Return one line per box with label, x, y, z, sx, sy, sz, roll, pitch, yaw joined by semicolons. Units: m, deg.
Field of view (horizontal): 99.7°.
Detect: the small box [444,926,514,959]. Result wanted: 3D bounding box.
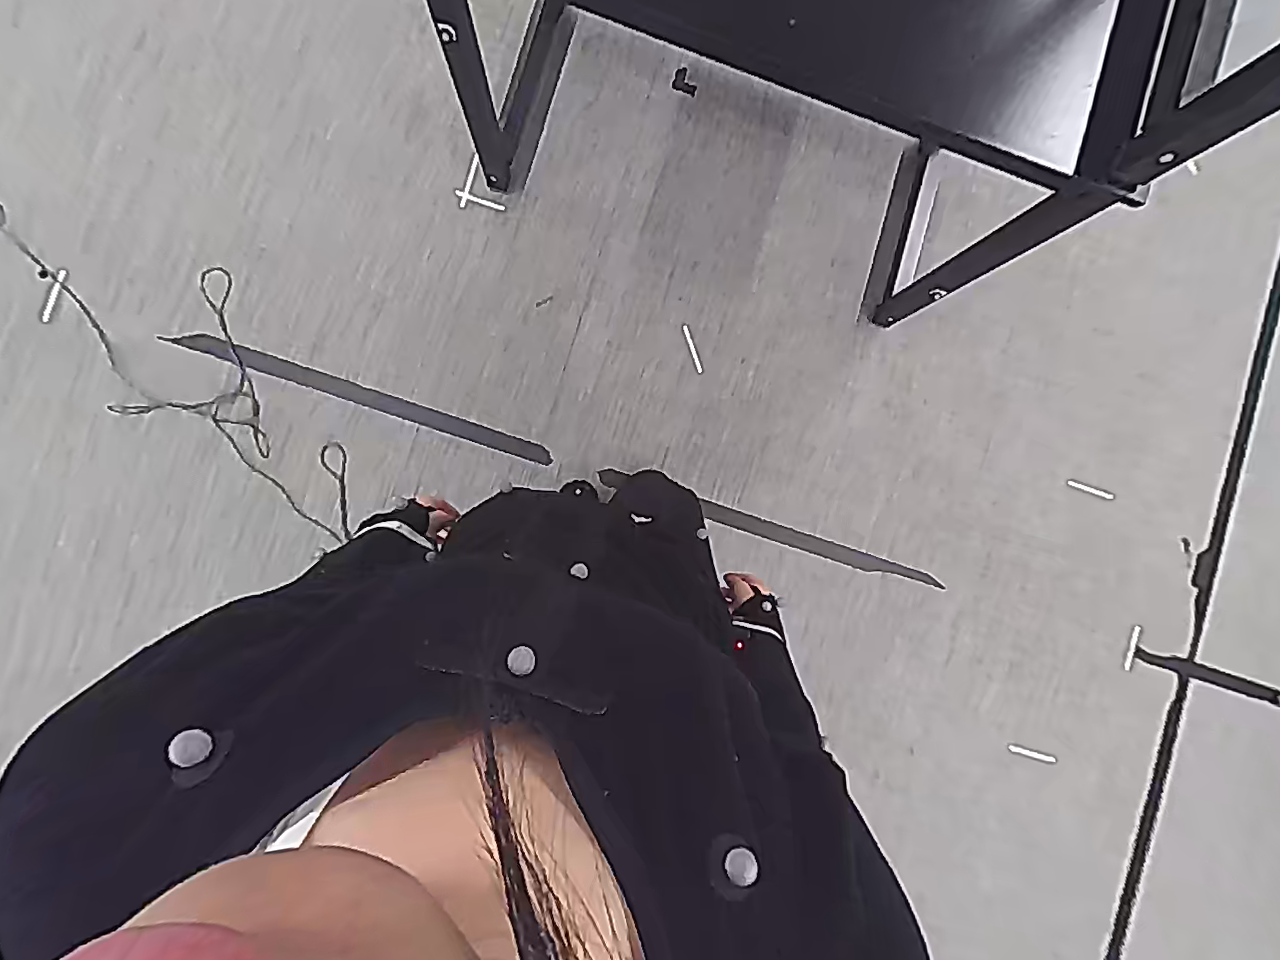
small box;-0.411;1.254;1.337;0.168;0.176;0.179;8;88;-6
